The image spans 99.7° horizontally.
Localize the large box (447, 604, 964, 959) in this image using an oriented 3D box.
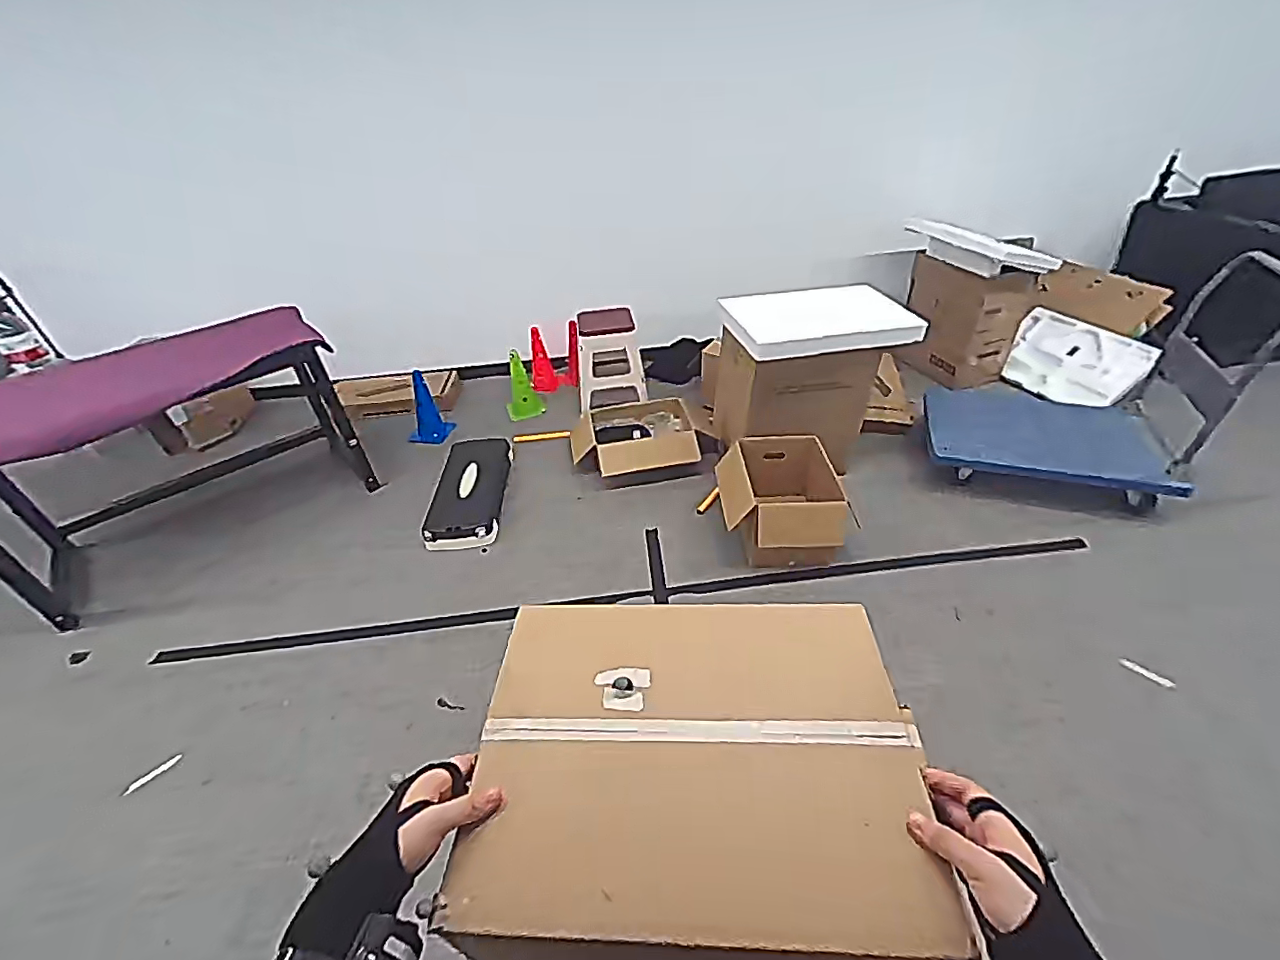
[{"bbox_3d":[0.065,0.368,0.618,0.408,0.320,0.320,-3,36,6],"label":"large box"}]
